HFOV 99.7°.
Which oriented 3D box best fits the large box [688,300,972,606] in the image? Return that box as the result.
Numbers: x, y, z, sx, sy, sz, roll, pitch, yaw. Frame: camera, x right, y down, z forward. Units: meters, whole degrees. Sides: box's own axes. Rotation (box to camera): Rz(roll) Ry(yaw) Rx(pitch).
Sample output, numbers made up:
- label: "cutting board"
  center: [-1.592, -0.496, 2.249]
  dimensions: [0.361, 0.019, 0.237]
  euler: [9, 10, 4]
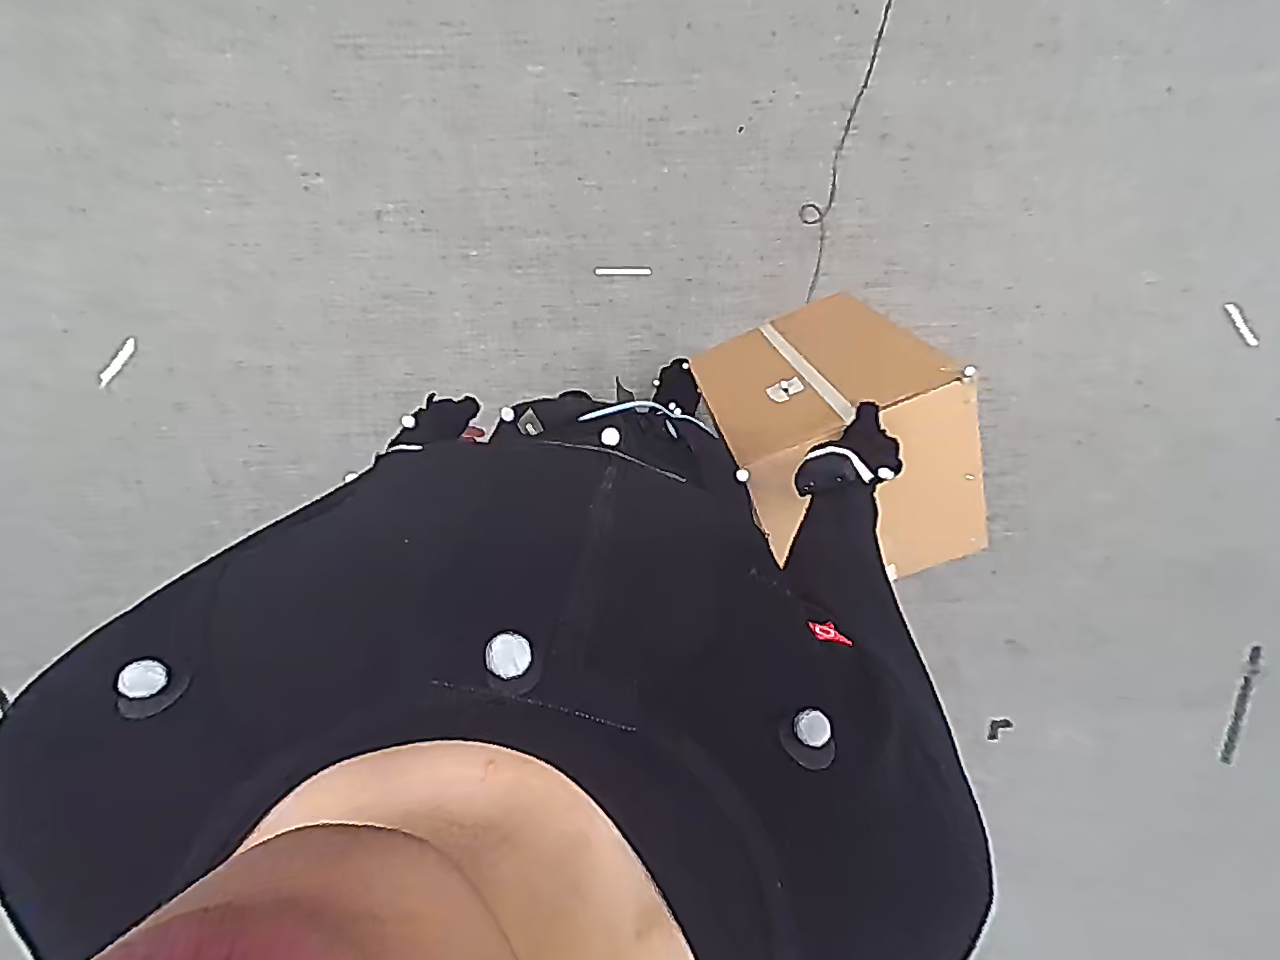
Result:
- label: "large box"
  center: [0.309, -0.063, 0.949]
  dimensions: [0.320, 0.408, 0.320]
  euler: [-23, 123, 8]
